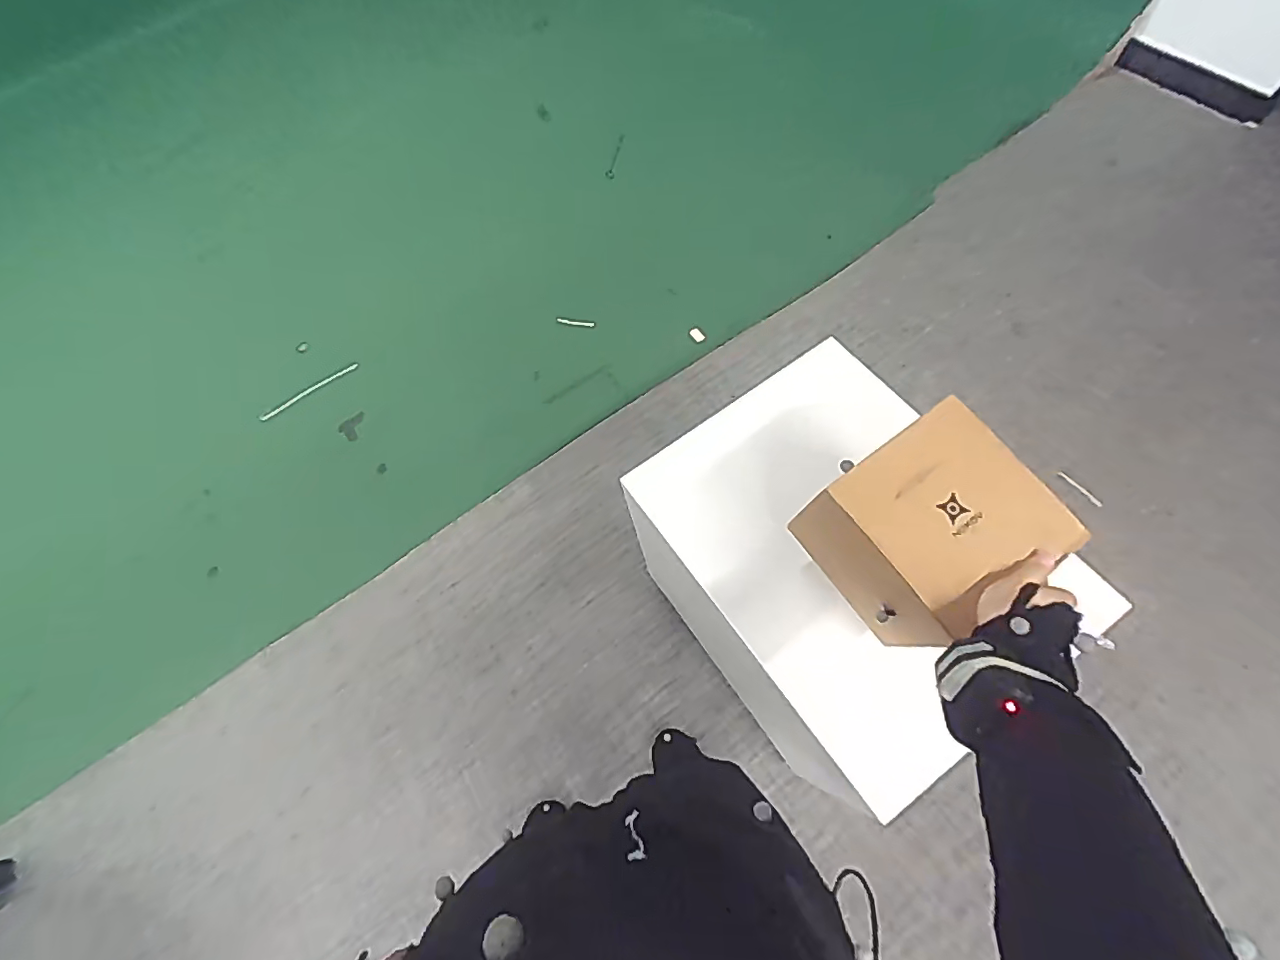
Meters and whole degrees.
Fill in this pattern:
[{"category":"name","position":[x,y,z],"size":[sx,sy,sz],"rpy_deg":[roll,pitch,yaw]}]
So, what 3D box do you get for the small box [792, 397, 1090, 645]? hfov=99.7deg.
[{"category":"small box","position":[0.290,0.053,0.568],"size":[0.168,0.176,0.179],"rpy_deg":[-35,74,-9]}]
